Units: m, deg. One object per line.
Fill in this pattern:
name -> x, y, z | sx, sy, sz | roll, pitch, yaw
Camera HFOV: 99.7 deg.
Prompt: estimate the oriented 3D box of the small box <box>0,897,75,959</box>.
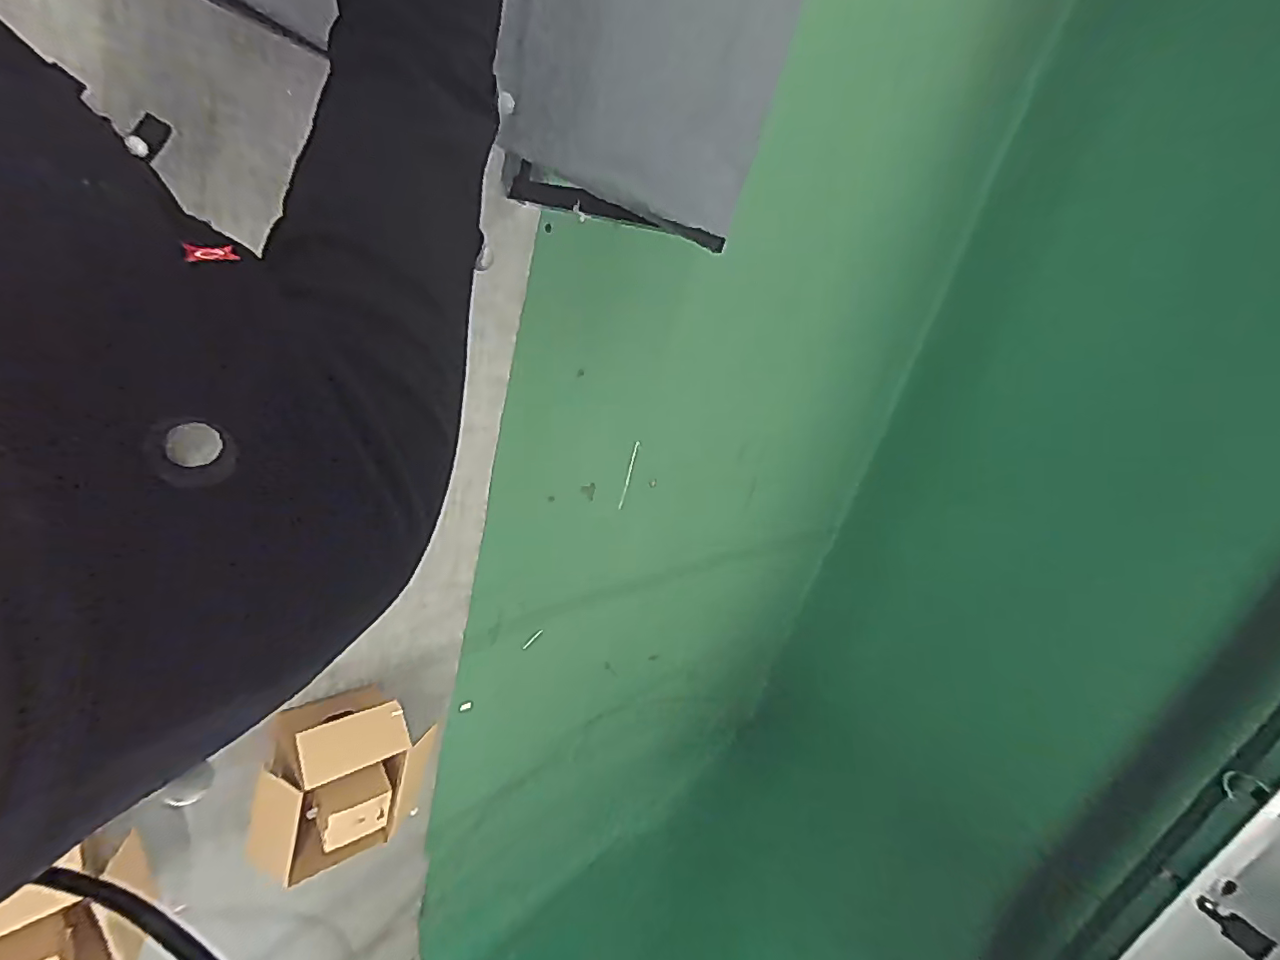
small box -> -1.398, 1.088, 1.207 | 0.168, 0.176, 0.179 | -11, 122, -41
